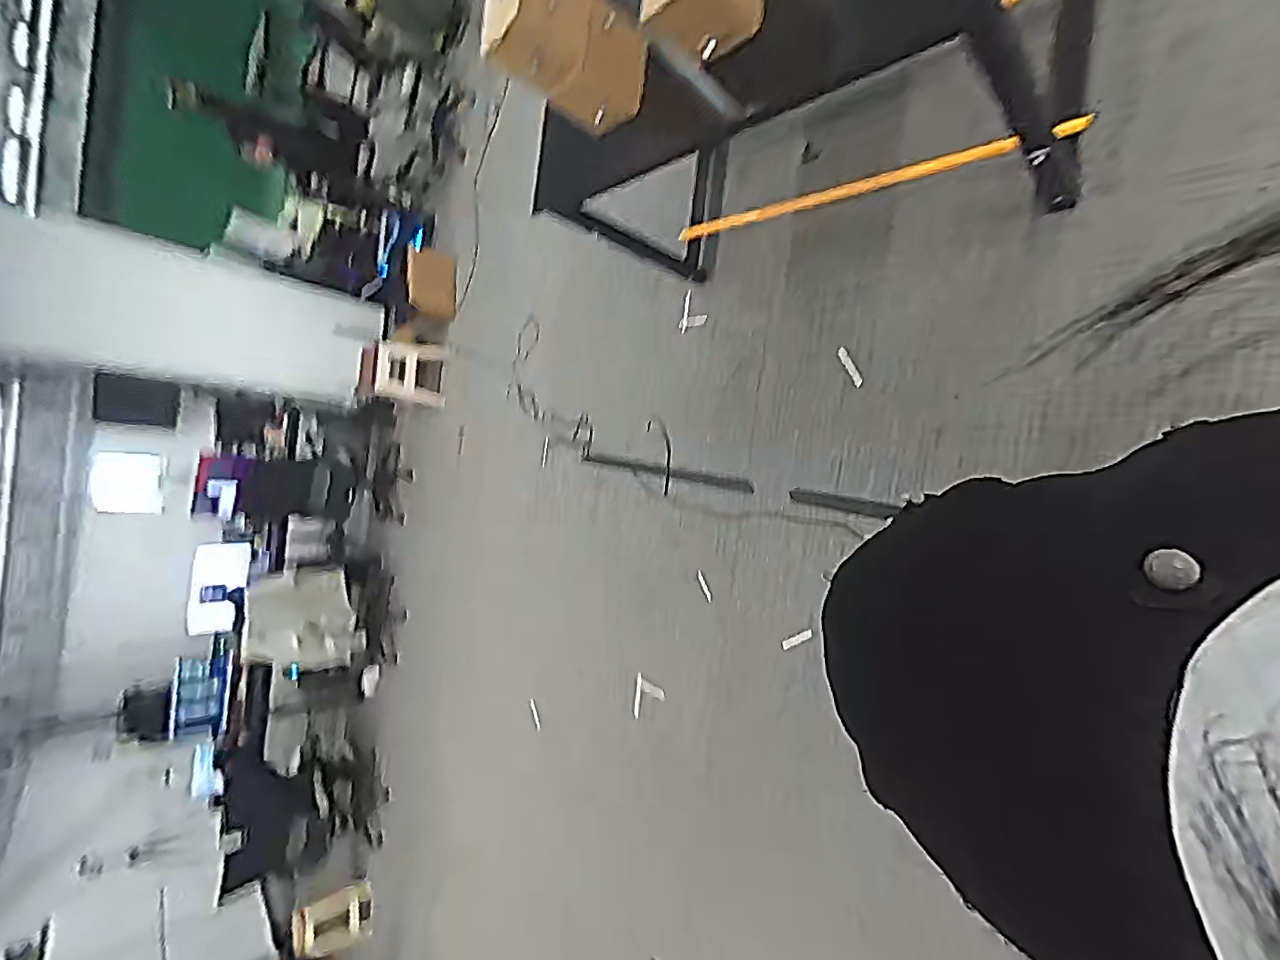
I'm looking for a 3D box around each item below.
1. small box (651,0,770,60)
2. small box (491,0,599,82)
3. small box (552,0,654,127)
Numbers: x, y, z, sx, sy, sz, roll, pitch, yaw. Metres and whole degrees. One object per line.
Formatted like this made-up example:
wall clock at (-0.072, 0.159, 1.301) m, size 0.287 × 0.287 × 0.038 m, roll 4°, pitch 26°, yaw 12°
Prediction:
small box at (0.145, -0.978, 1.044) m, size 0.168 × 0.176 × 0.179 m, roll 9°, pitch 93°, yaw 49°
small box at (-0.205, -1.018, 1.182) m, size 0.168 × 0.176 × 0.179 m, roll 8°, pitch 92°, yaw 47°
small box at (-0.085, -0.996, 1.292) m, size 0.168 × 0.176 × 0.179 m, roll 13°, pitch 95°, yaw 47°
